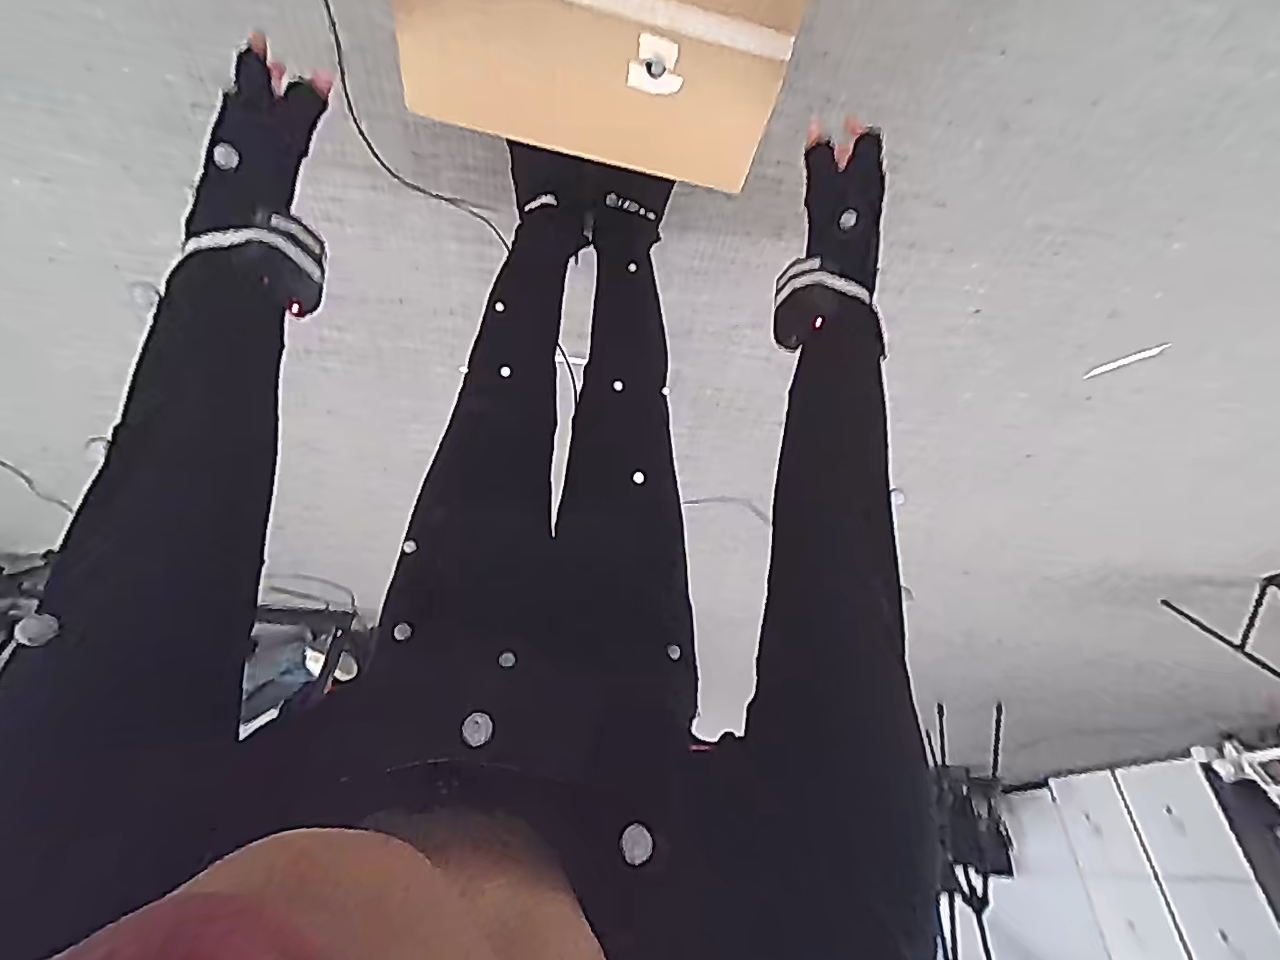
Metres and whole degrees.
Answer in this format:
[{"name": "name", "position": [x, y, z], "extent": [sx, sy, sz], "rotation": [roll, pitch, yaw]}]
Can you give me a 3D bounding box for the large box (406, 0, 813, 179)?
[{"name": "large box", "position": [-0.029, -0.604, 0.609], "extent": [0.408, 0.320, 0.320], "rotation": [8, 145, -10]}]
